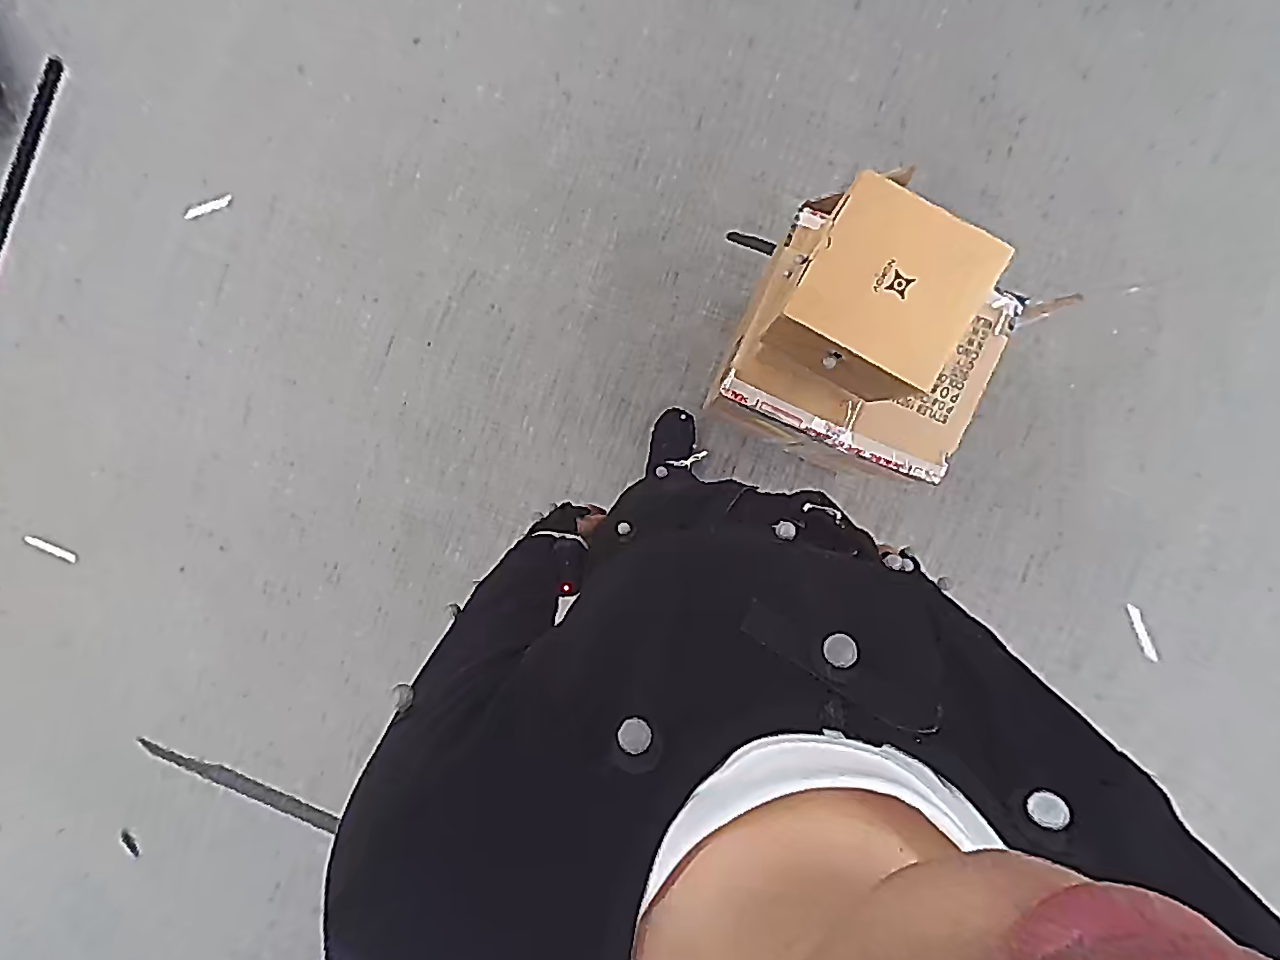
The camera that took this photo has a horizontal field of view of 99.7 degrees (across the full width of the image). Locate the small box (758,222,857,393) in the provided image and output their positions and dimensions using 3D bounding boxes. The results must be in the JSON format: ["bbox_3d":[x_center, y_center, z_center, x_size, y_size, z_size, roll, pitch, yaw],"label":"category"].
[{"bbox_3d":[0.290,-0.236,0.791,0.179,0.176,0.168,25,96,2],"label":"small box"}]

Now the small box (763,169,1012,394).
[{"bbox_3d":[0.267,-0.212,0.631,0.179,0.176,0.168,30,96,2],"label":"small box"}]
